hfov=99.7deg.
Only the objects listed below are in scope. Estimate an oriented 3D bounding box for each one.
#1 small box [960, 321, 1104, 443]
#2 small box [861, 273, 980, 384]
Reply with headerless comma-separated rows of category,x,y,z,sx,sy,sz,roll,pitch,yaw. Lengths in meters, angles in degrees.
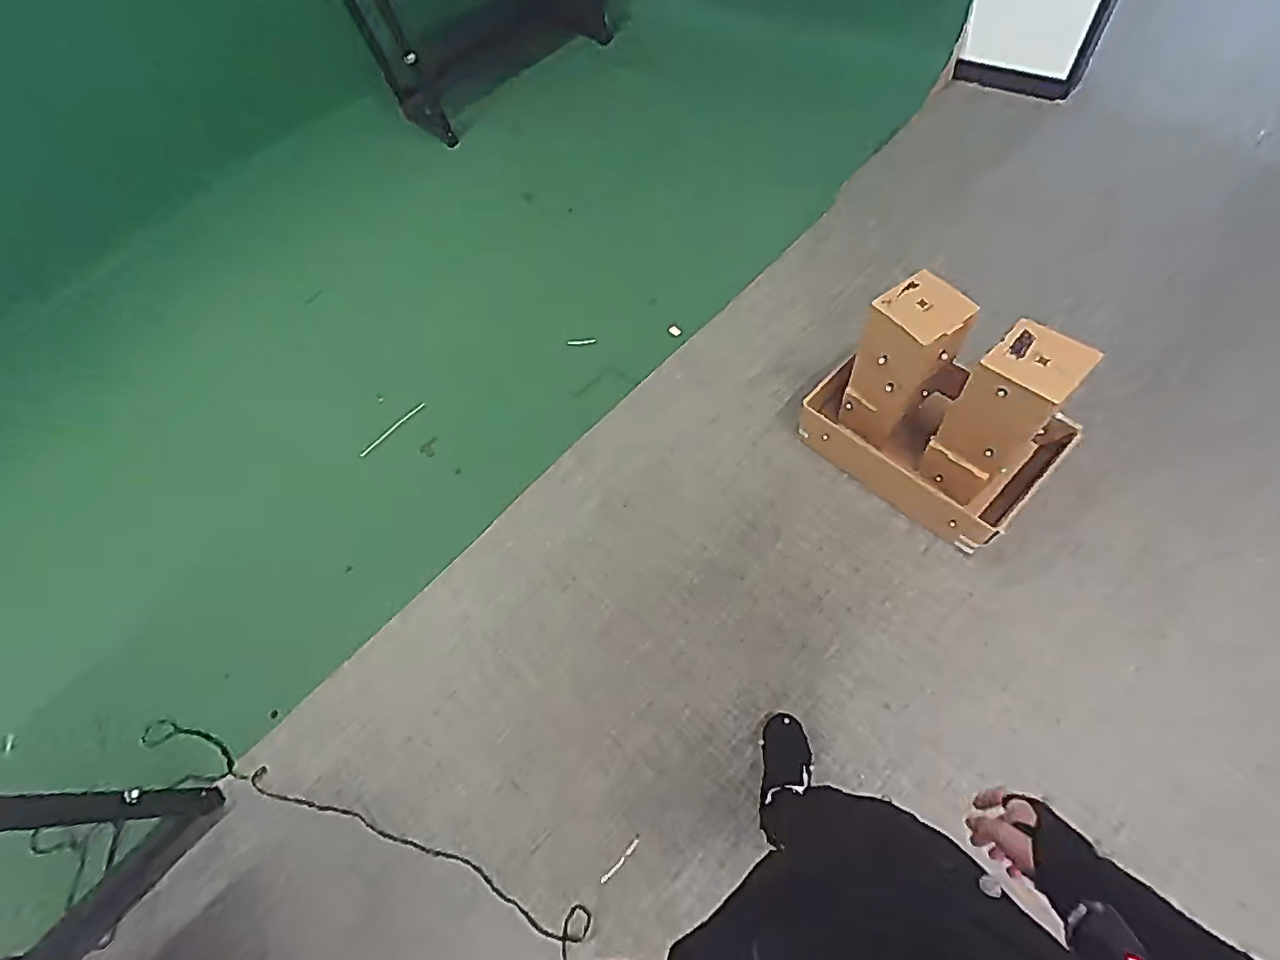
small box,0.860,-0.213,1.209,0.168,0.176,0.179,-42,62,-10
small box,0.675,-0.360,1.325,0.168,0.176,0.179,-32,63,-6
